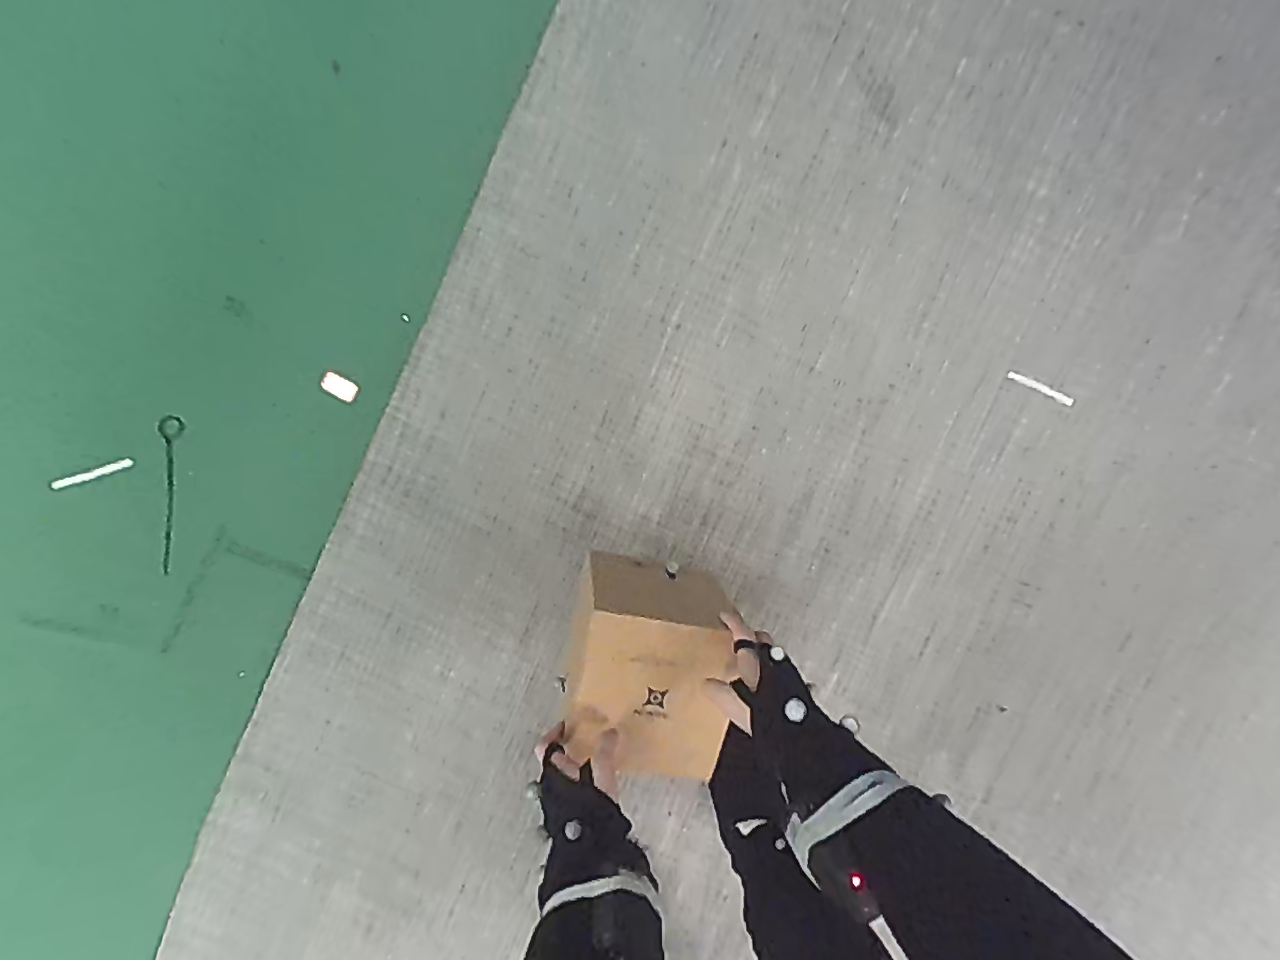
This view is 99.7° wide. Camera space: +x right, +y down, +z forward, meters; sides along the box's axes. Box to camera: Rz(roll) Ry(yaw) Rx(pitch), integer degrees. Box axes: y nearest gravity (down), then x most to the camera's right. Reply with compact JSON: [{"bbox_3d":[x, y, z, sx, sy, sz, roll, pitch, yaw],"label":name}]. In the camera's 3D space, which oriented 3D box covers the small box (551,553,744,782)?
[{"bbox_3d":[-0.001,0.206,0.626,0.168,0.176,0.179,12,102,-10],"label":"small box"}]
